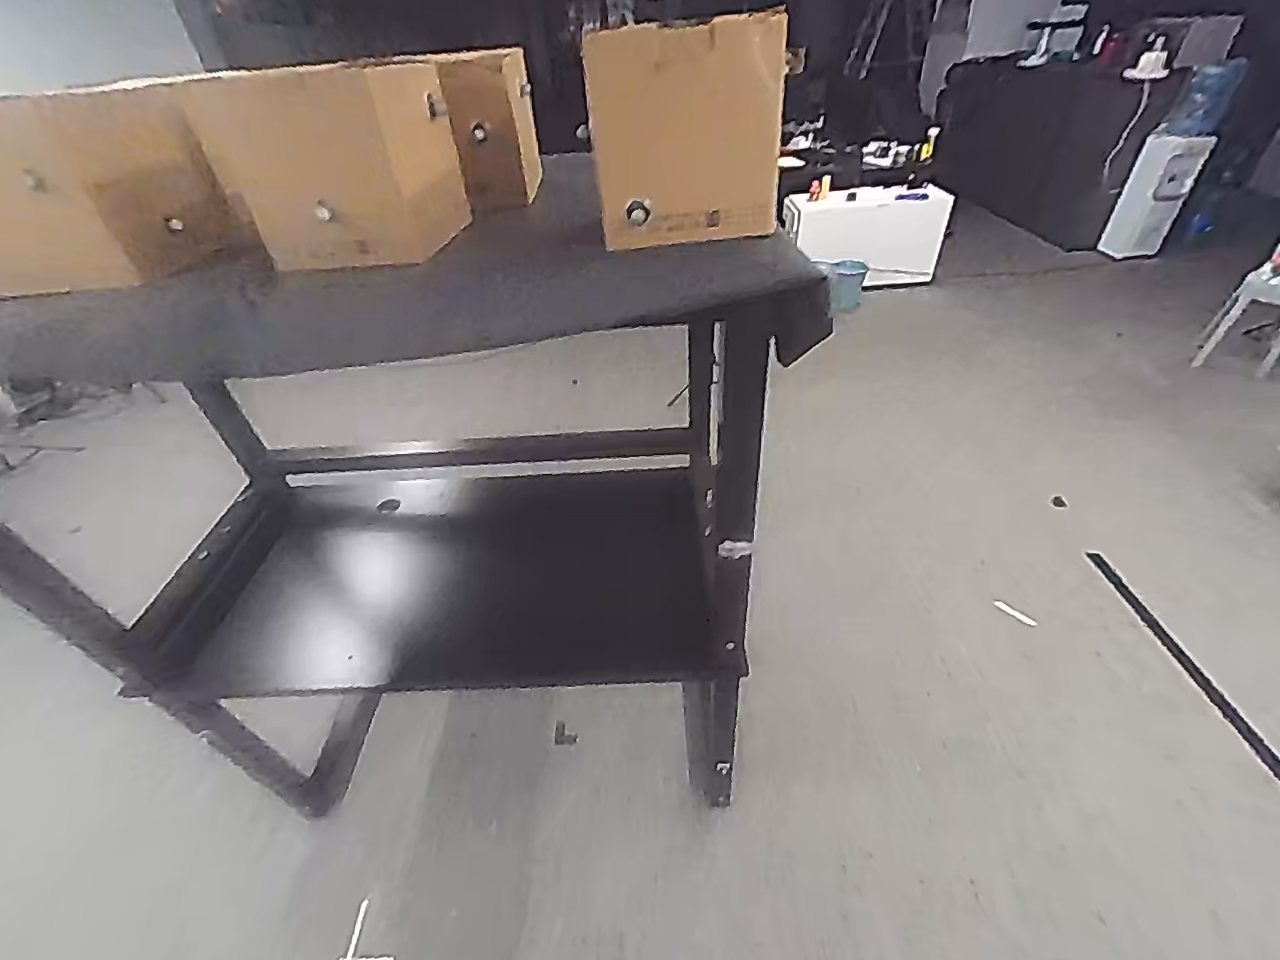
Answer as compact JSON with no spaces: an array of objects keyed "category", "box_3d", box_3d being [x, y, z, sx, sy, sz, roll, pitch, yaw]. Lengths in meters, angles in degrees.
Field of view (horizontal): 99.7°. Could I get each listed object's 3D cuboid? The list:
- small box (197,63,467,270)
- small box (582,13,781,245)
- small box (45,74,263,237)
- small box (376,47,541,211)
[{"category":"small box","box_3d":[-0.304,-0.339,0.586,0.168,0.176,0.179,-1,39,5]},{"category":"small box","box_3d":[0.036,-0.342,0.544,0.168,0.176,0.179,-6,35,-1]},{"category":"small box","box_3d":[-0.638,-0.460,0.769,0.179,0.176,0.168,-3,41,3]},{"category":"small box","box_3d":[-0.238,-0.482,0.750,0.168,0.176,0.179,-3,41,0]}]
